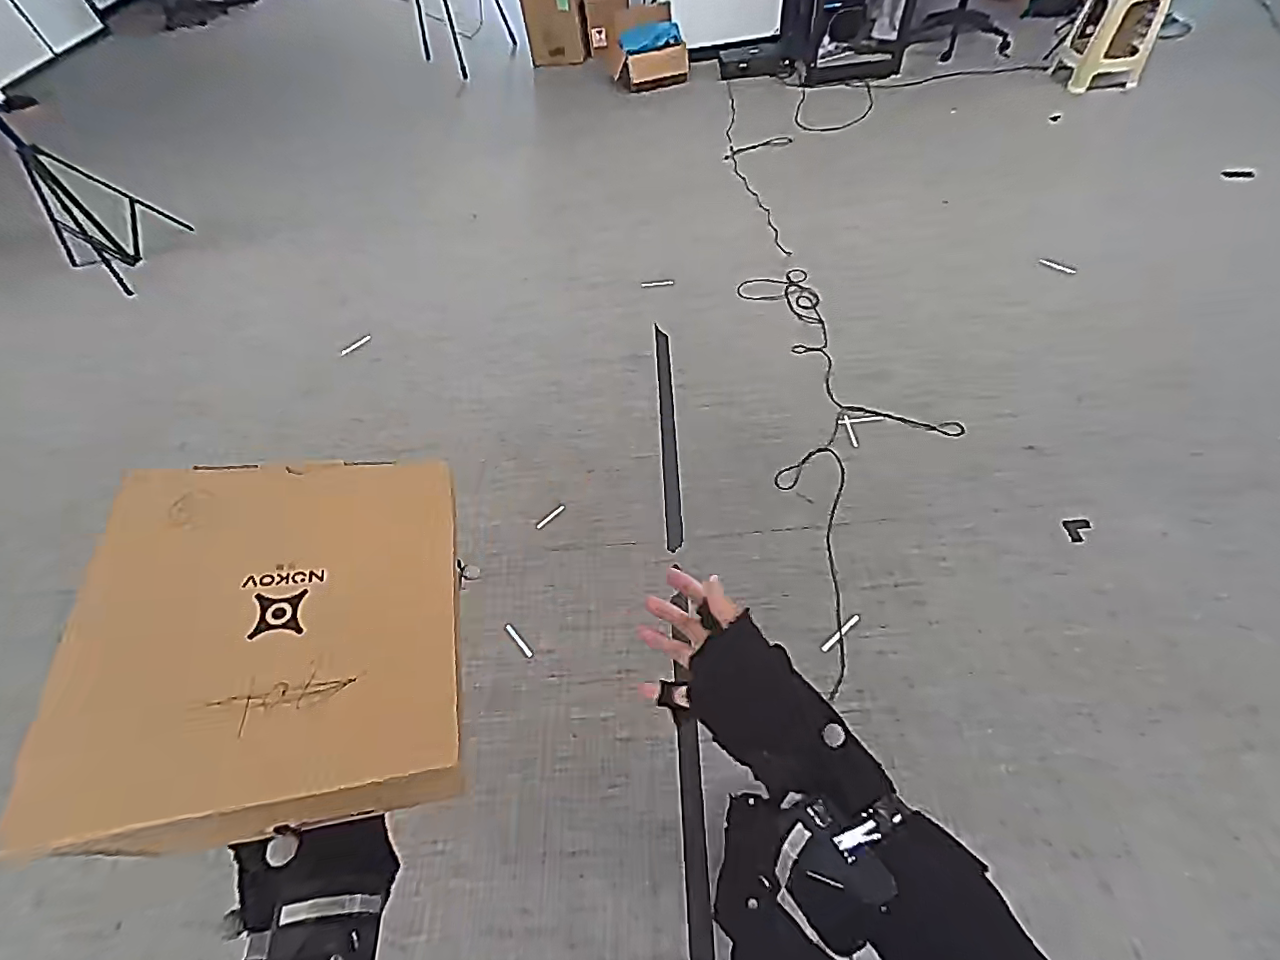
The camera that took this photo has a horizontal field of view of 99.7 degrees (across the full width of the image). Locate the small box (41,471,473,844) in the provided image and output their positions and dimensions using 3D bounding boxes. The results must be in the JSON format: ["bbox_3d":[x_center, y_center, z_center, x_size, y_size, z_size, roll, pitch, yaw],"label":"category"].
[{"bbox_3d":[-0.196,0.112,0.344,0.168,0.176,0.179,-2,57,-18],"label":"small box"}]
